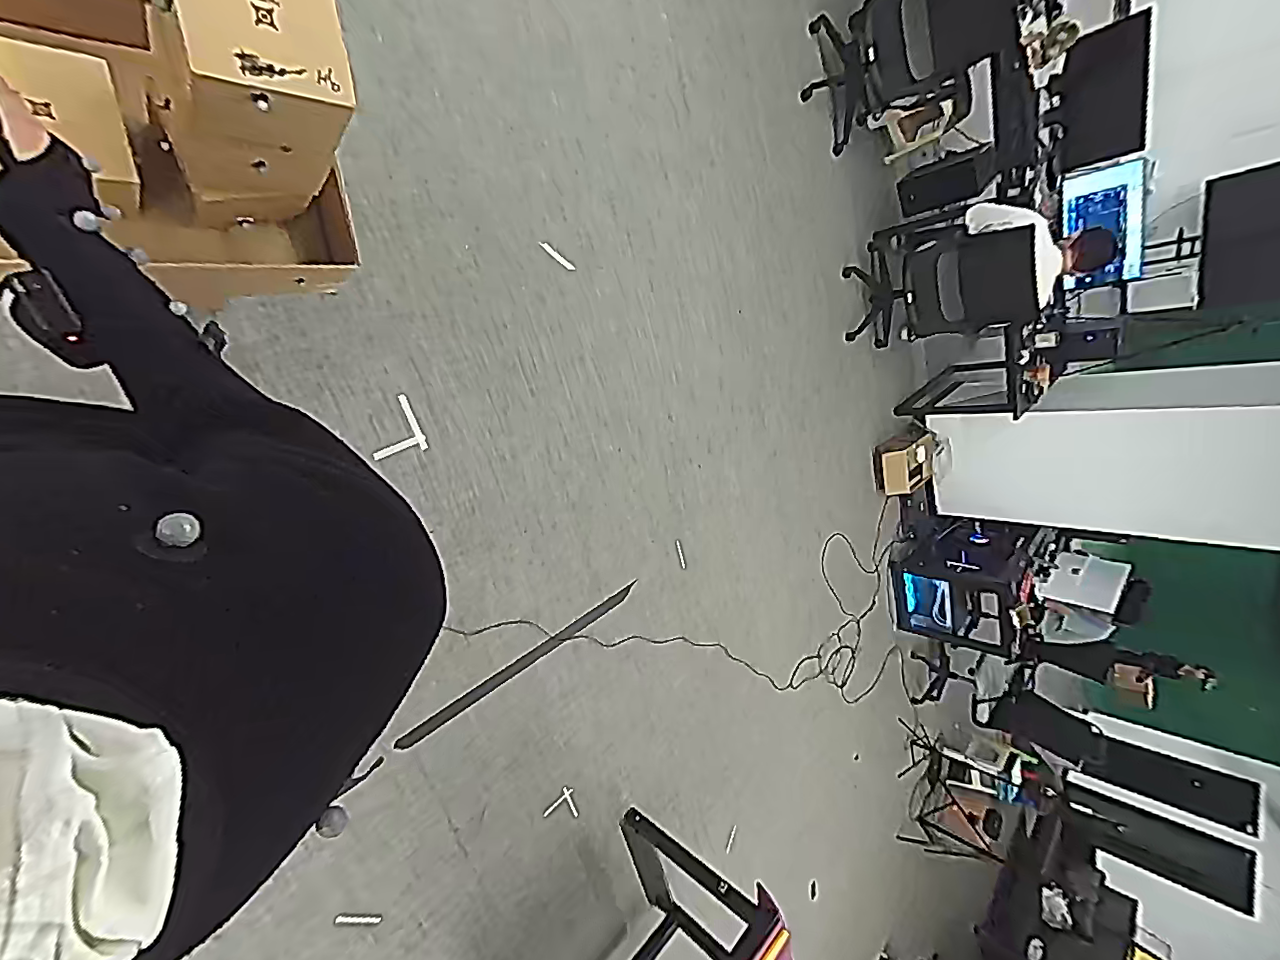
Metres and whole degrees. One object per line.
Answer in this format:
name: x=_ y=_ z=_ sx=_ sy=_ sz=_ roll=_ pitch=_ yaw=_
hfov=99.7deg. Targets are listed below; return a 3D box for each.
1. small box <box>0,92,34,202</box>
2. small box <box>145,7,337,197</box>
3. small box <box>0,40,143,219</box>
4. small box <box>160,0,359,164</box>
small box: x=-0.658 y=-0.339 z=0.442 sx=0.179 sy=0.176 sz=0.168 roll=-23 pitch=106 yaw=-34
small box: x=-0.577 y=-0.531 z=0.791 sx=0.179 sy=0.176 sz=0.168 roll=-22 pitch=107 yaw=-37
small box: x=-0.850 y=-0.490 z=0.774 sx=0.179 sy=0.176 sz=0.168 roll=-16 pitch=103 yaw=-40
small box: x=-0.469 y=-0.527 z=0.666 sx=0.168 sy=0.176 sz=0.179 roll=-14 pitch=101 yaw=-38
